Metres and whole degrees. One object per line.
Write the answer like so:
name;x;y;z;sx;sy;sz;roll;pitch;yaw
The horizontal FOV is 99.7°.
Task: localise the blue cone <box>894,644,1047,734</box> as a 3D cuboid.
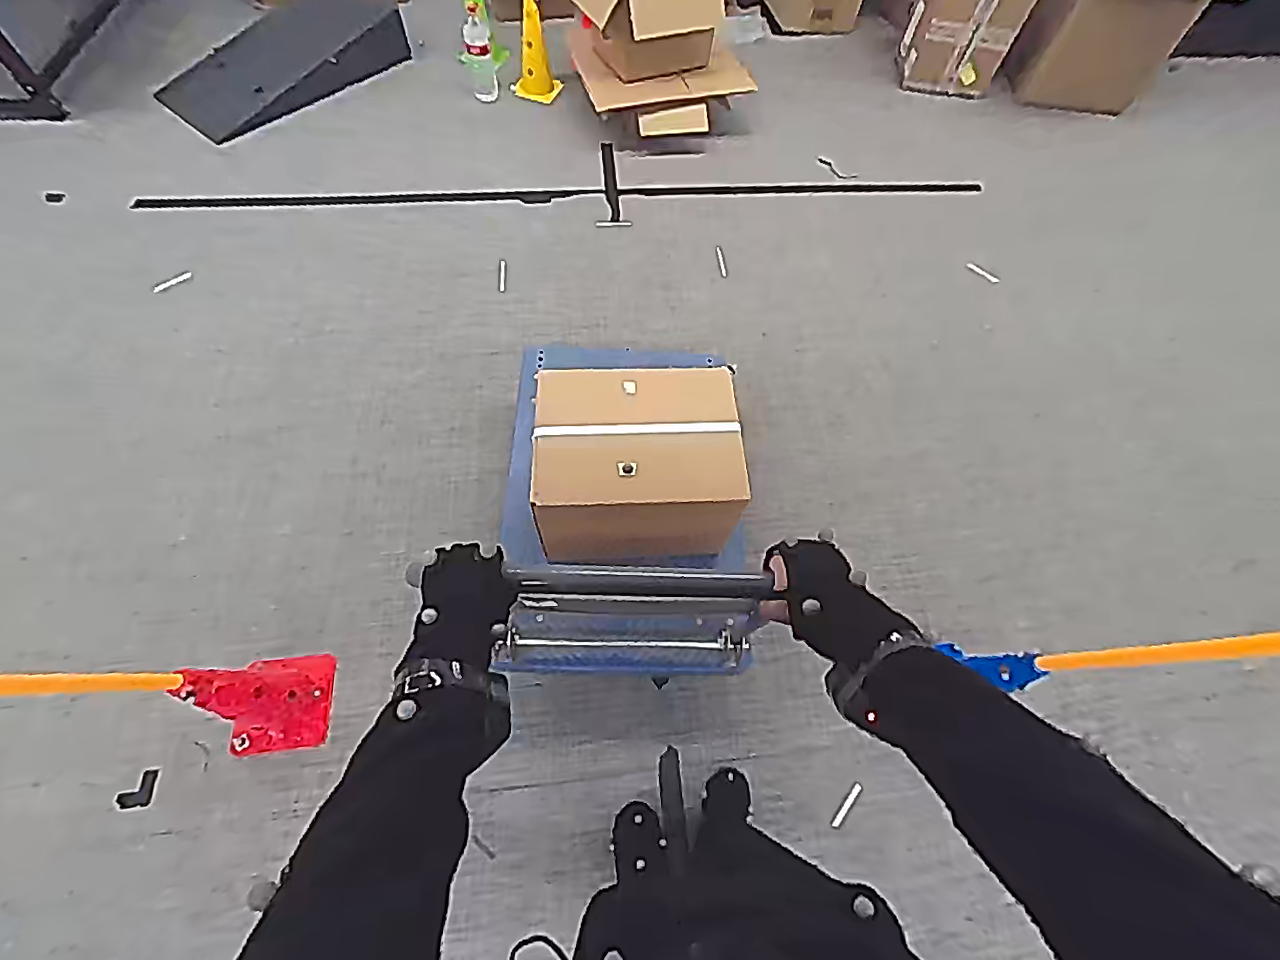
blue cone;0.748;0.430;1.182;0.193;0.380;0.192;-7;61;-8
